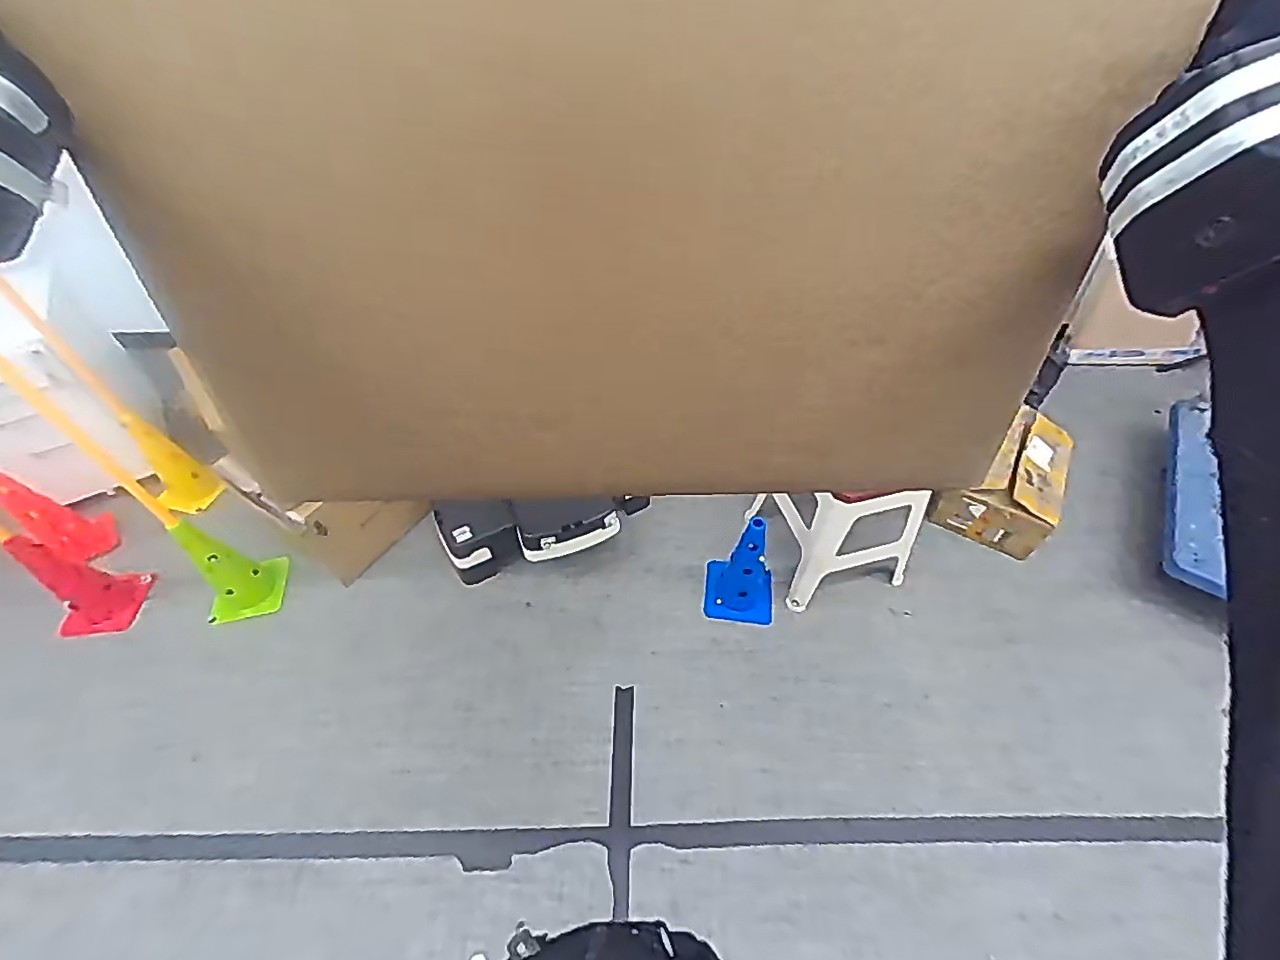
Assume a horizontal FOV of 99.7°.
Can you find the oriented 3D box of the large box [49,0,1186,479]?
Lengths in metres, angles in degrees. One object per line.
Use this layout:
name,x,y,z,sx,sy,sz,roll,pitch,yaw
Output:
large box,-0.009,-0.210,0.336,0.408,0.320,0.320,0,39,-2
